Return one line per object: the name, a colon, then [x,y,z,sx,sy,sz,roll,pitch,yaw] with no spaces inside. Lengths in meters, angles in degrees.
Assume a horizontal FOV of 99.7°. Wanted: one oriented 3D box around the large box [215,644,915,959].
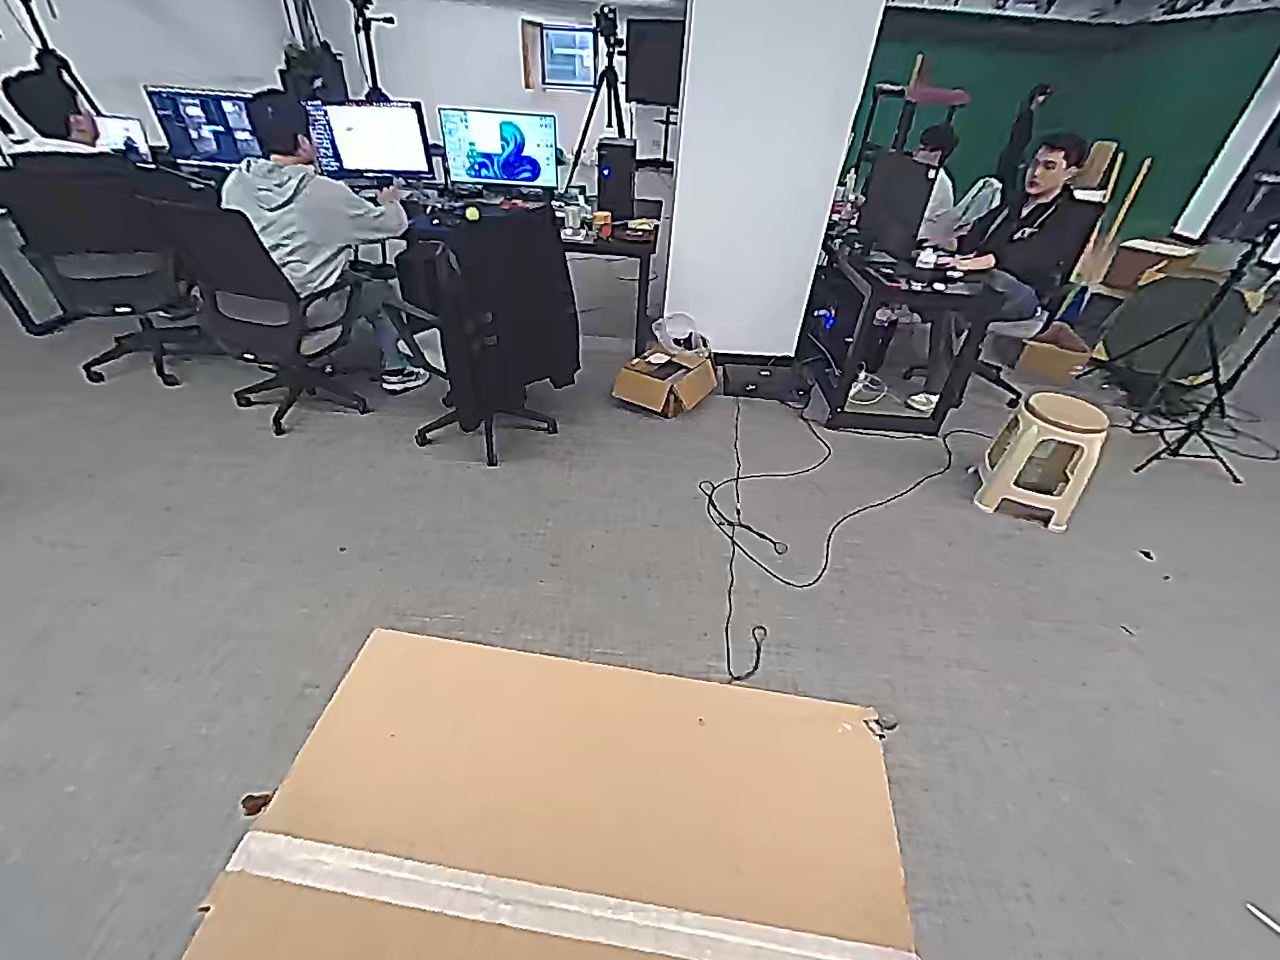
large box: [-0.044,0.369,0.426,0.408,0.320,0.320,8,44,3]
